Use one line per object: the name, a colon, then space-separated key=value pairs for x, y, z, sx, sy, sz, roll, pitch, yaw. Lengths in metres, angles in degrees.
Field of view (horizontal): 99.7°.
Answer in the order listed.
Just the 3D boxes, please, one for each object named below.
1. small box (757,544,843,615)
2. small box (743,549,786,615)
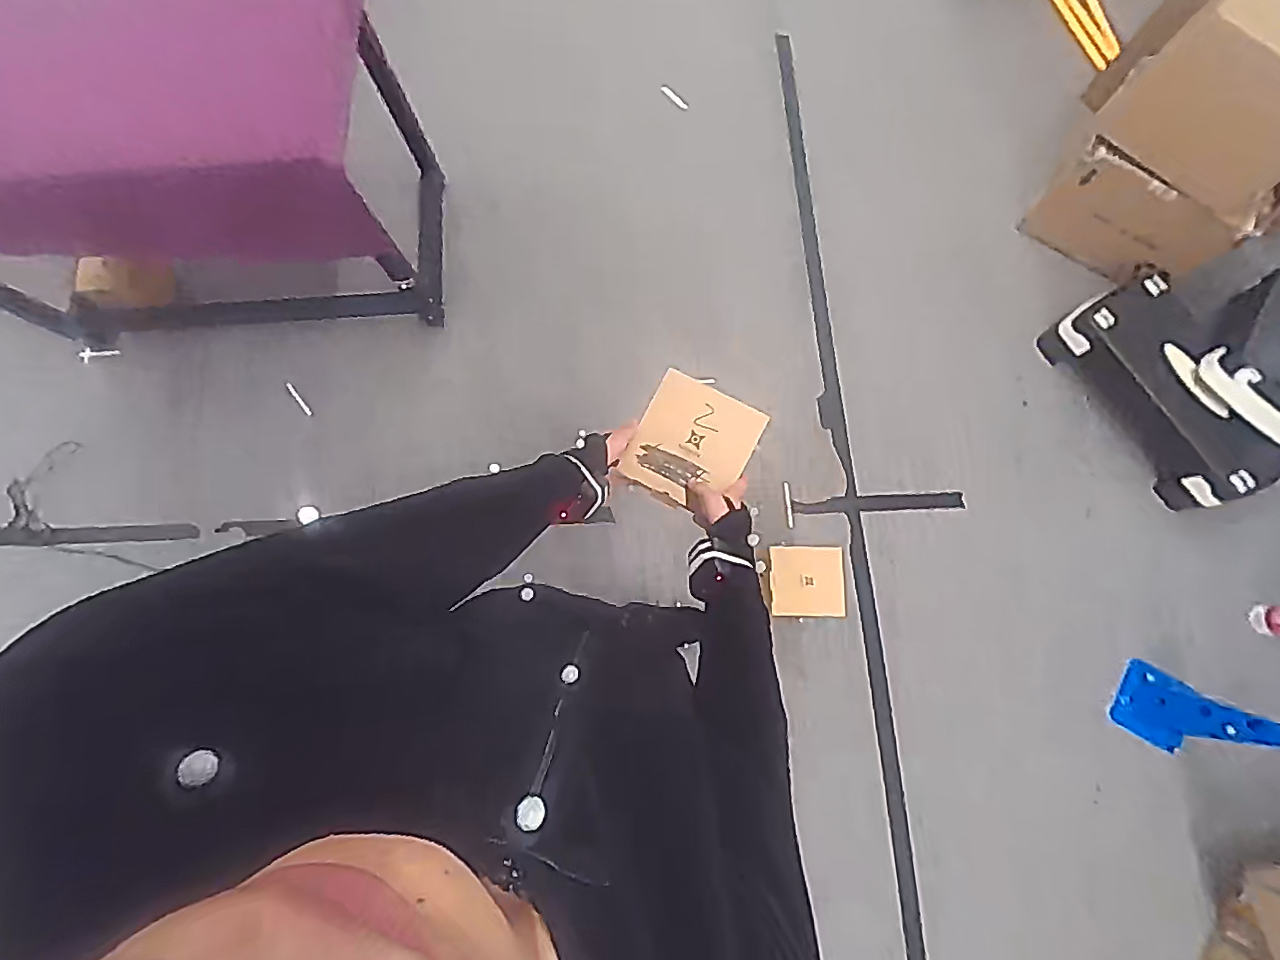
small box: x=0.402 y=0.252 z=1.378 sx=0.179 sy=0.176 sz=0.168 roll=1 pitch=80 yaw=2
small box: x=0.392 y=0.286 z=1.537 sx=0.168 sy=0.176 sz=0.179 roll=-4 pitch=79 yaw=0
